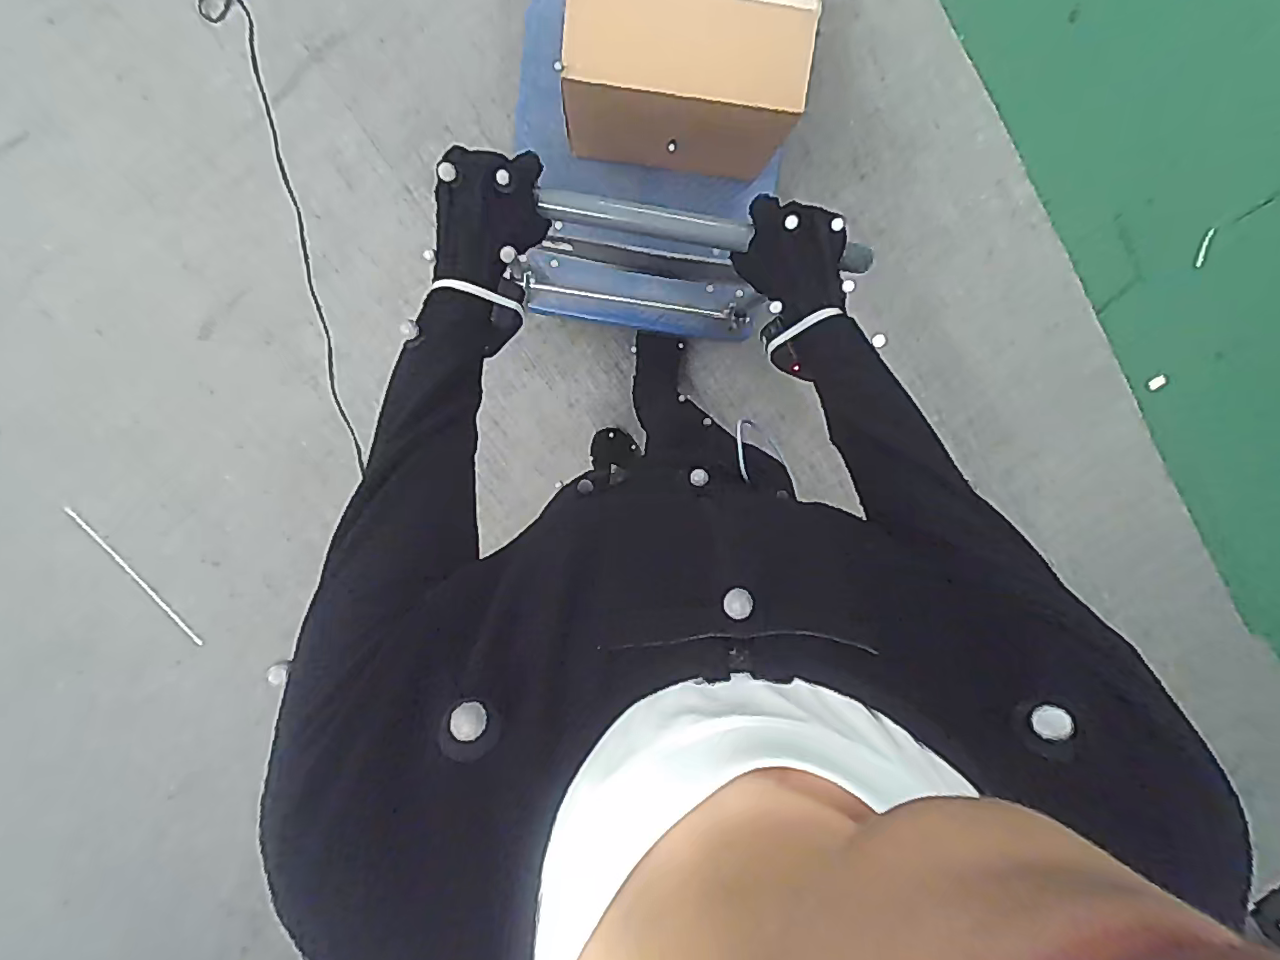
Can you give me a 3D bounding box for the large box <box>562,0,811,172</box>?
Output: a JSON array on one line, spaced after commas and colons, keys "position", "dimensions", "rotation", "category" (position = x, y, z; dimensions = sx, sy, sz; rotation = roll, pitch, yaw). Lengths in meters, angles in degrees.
[{"position": [0.076, -0.812, 1.012], "dimensions": [0.408, 0.320, 0.320], "rotation": [5, 99, -4], "category": "large box"}]
